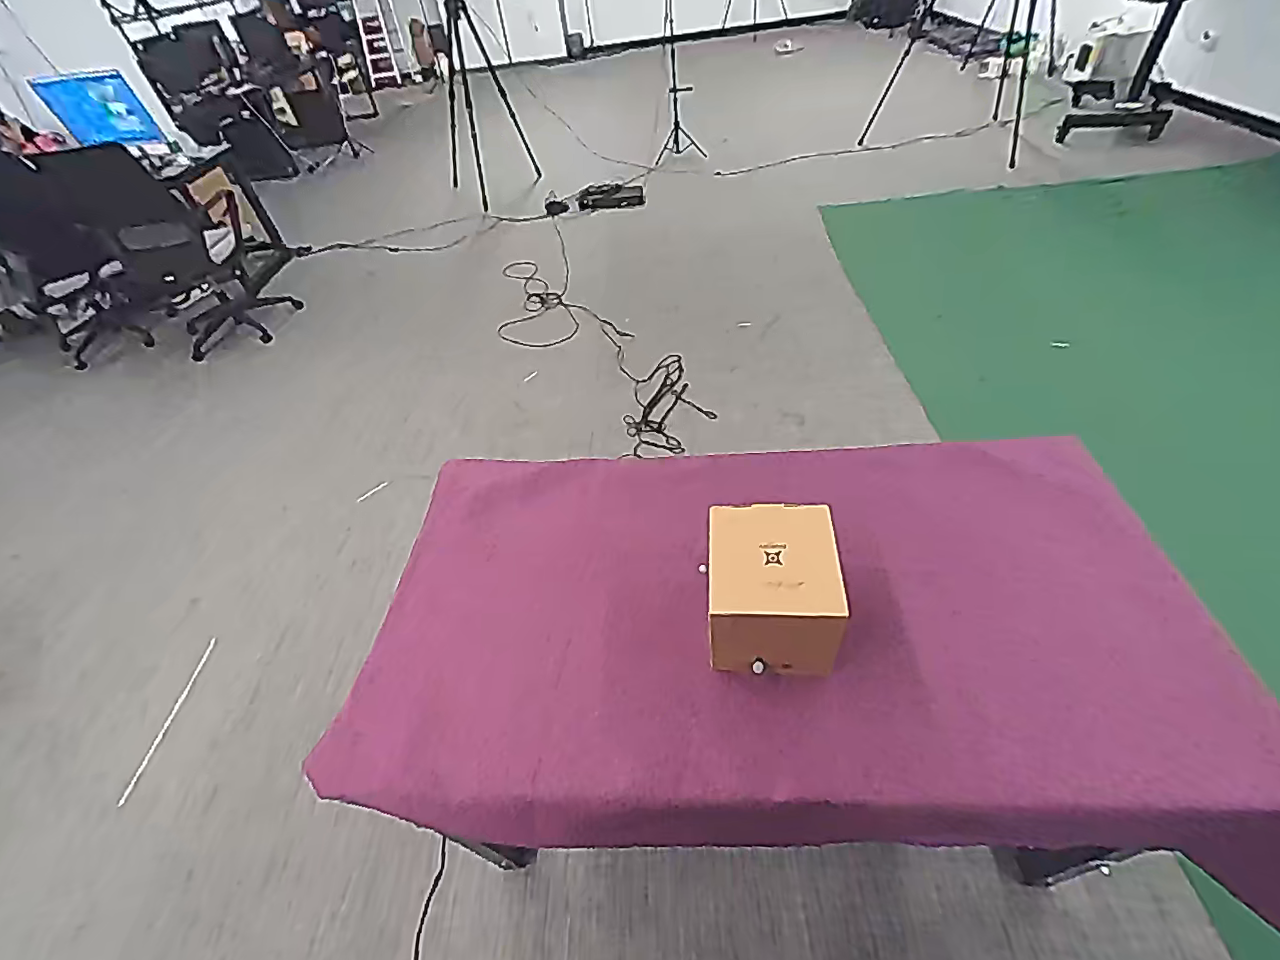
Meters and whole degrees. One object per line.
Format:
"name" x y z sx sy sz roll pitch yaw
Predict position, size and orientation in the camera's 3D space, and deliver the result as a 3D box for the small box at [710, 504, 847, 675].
"small box" 0.184 0.152 0.765 0.168 0.176 0.179 -1 47 9
